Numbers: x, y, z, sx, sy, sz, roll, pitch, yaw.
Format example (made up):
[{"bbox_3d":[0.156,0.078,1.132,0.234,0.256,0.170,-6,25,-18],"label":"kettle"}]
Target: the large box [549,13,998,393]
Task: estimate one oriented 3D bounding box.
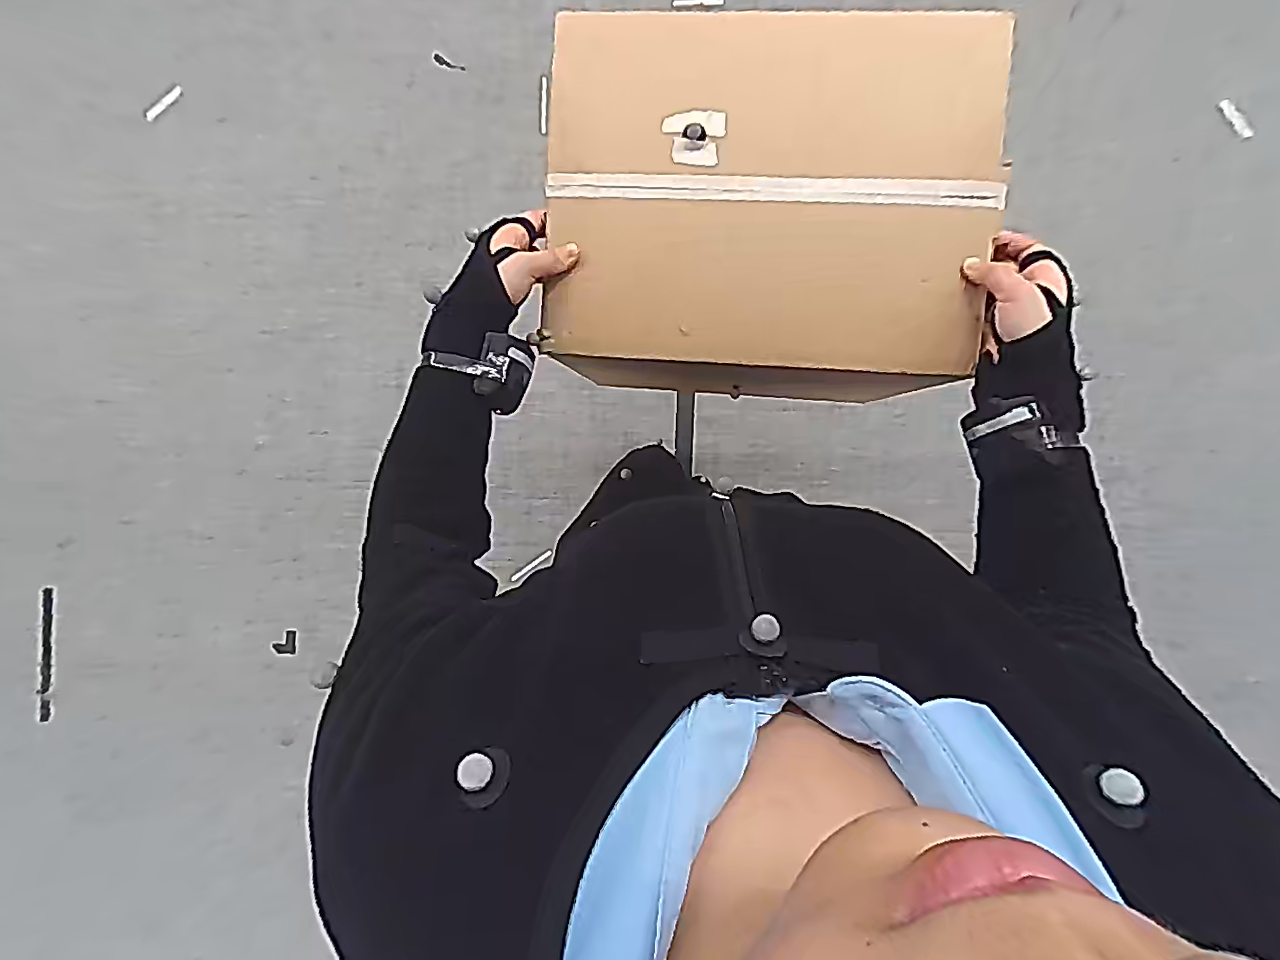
[{"bbox_3d":[0.131,-0.276,0.653,0.408,0.320,0.320,4,93,7],"label":"large box"}]
